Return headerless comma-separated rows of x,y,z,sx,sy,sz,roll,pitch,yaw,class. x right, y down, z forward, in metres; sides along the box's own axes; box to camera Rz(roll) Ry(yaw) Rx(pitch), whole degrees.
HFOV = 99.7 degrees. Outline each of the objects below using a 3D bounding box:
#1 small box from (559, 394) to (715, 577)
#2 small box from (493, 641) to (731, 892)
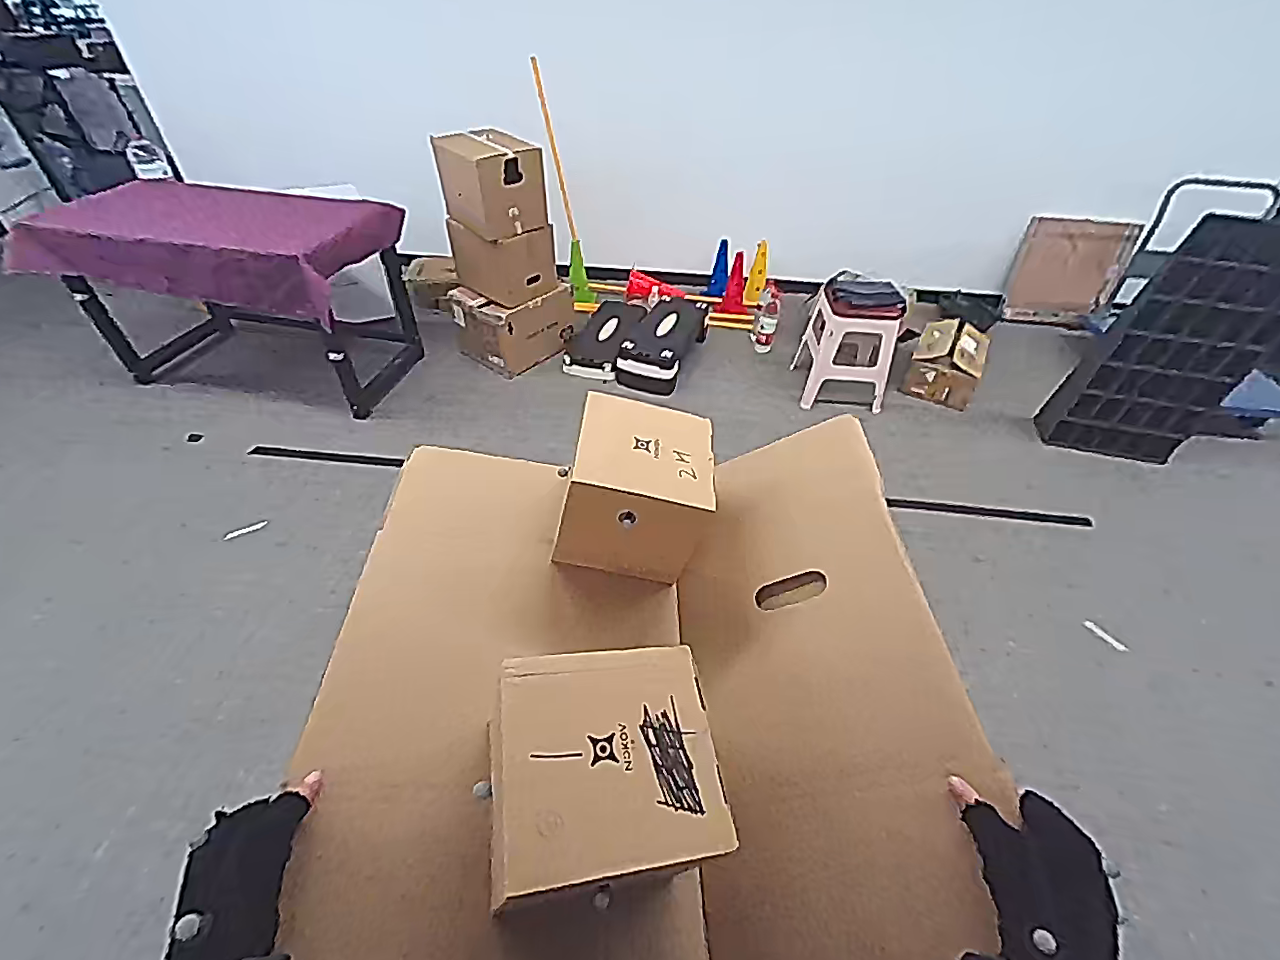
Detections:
-0.007,0.013,0.746,0.179,0.176,0.168,14,47,-8,small box
-0.042,0.265,0.507,0.179,0.176,0.168,2,49,-17,small box
